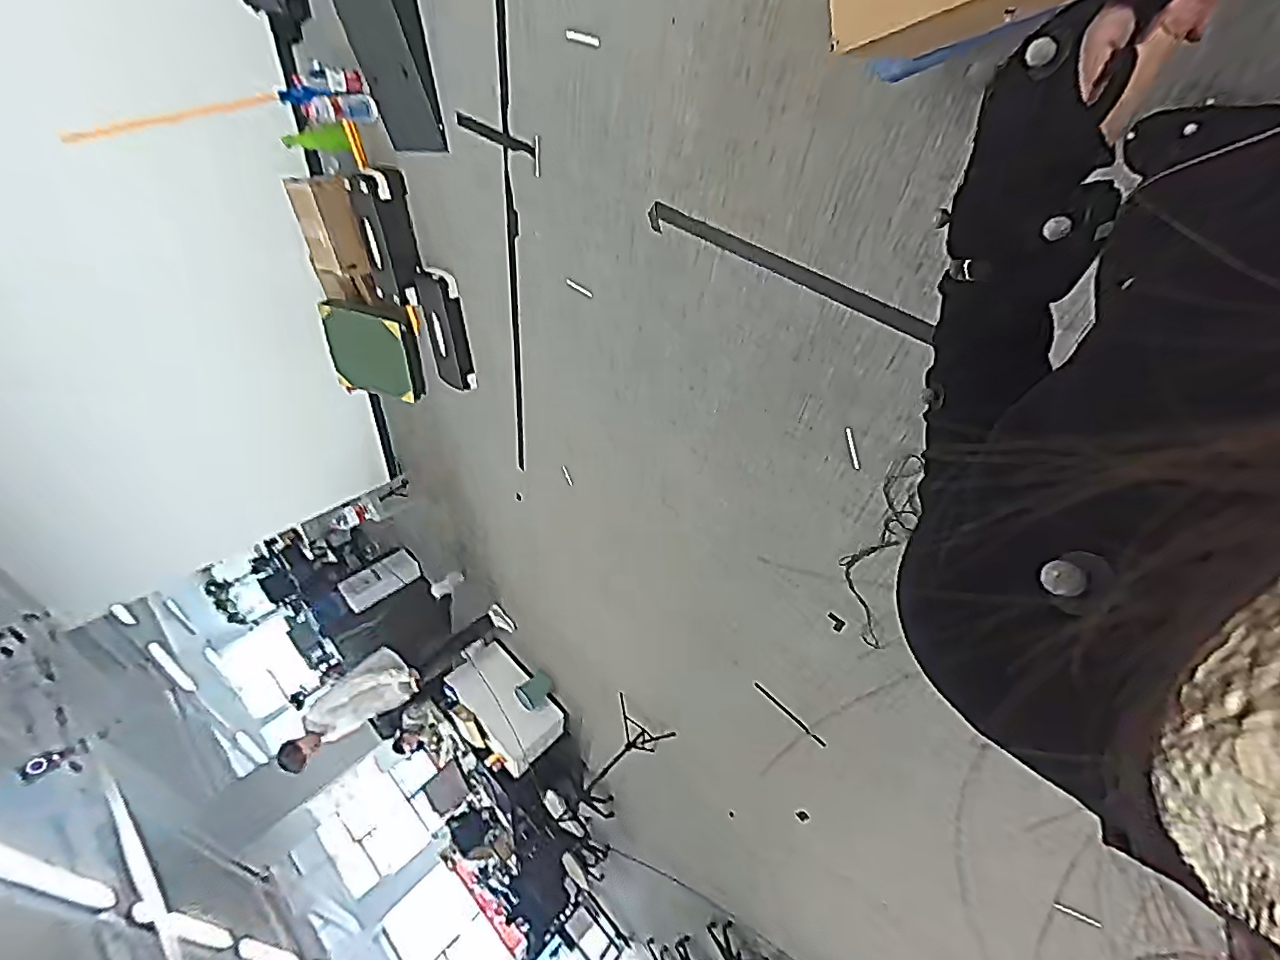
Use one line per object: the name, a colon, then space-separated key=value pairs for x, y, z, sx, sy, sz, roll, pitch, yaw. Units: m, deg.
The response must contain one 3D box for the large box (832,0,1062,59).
large box: x=0.517 y=-0.839 z=0.741 sx=0.408 sy=0.320 sz=0.320 roll=12 pitch=124 yaw=45
